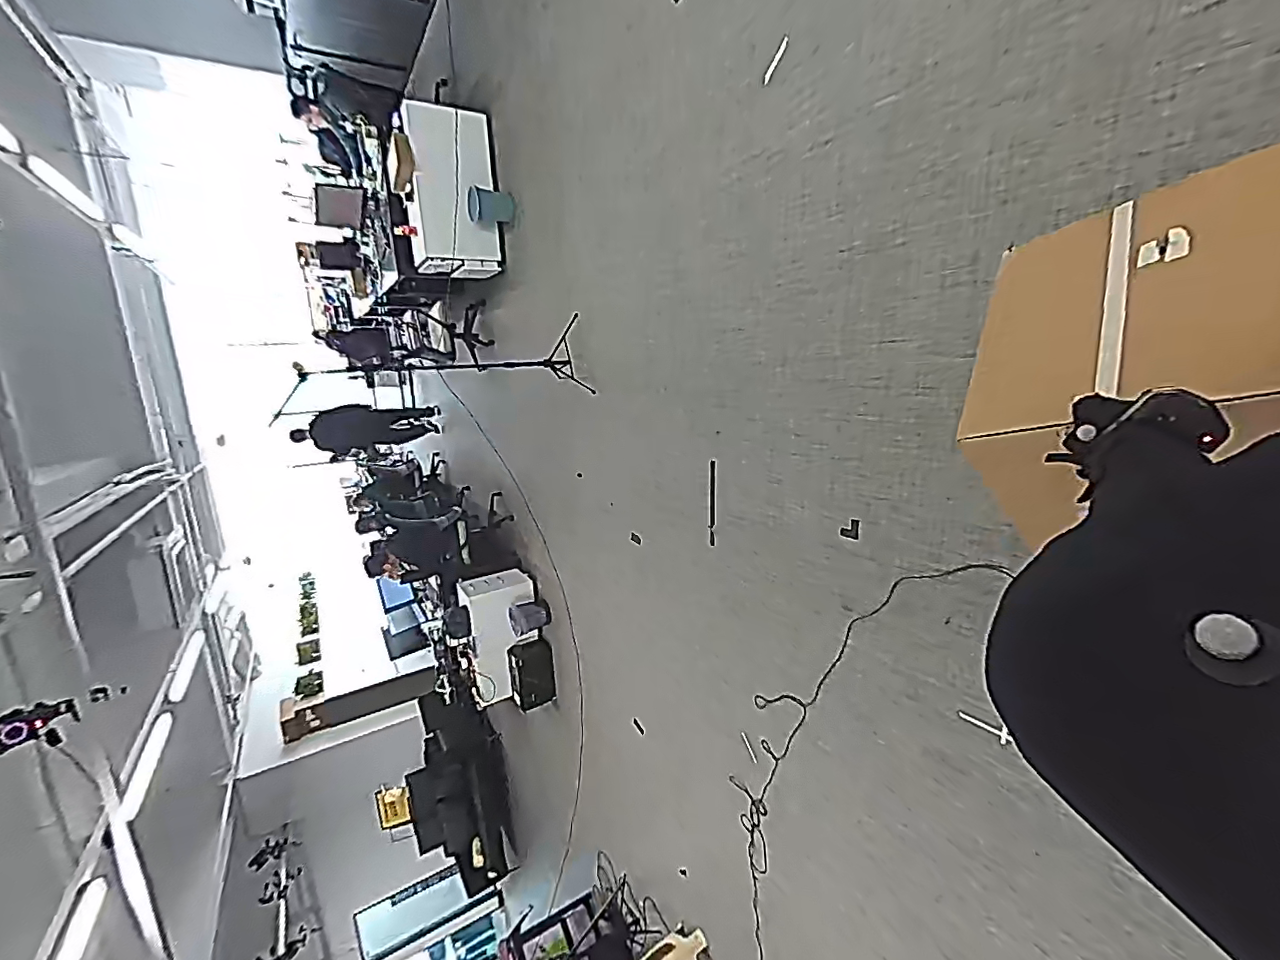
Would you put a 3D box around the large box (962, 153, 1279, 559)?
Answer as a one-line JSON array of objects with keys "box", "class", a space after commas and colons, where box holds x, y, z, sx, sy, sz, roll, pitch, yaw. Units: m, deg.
[{"box": [0.714, -0.137, 0.755, 0.320, 0.408, 0.320, 42, 153, -25], "class": "large box"}]
